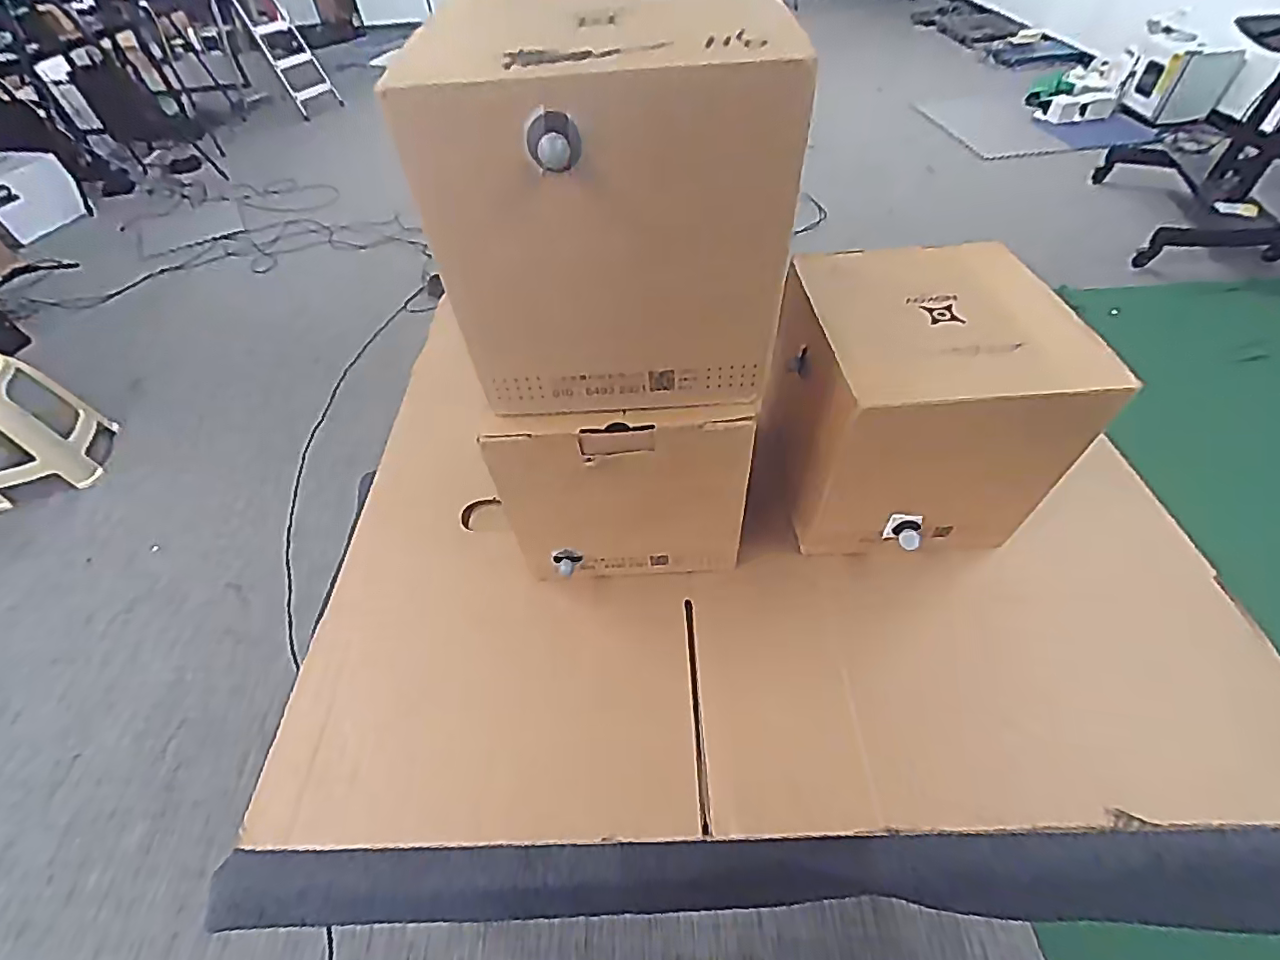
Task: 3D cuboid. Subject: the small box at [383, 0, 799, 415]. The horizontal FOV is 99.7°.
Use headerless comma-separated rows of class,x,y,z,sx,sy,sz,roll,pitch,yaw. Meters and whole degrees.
small box,-0.016,-0.159,0.322,0.168,0.176,0.179,-2,50,2
